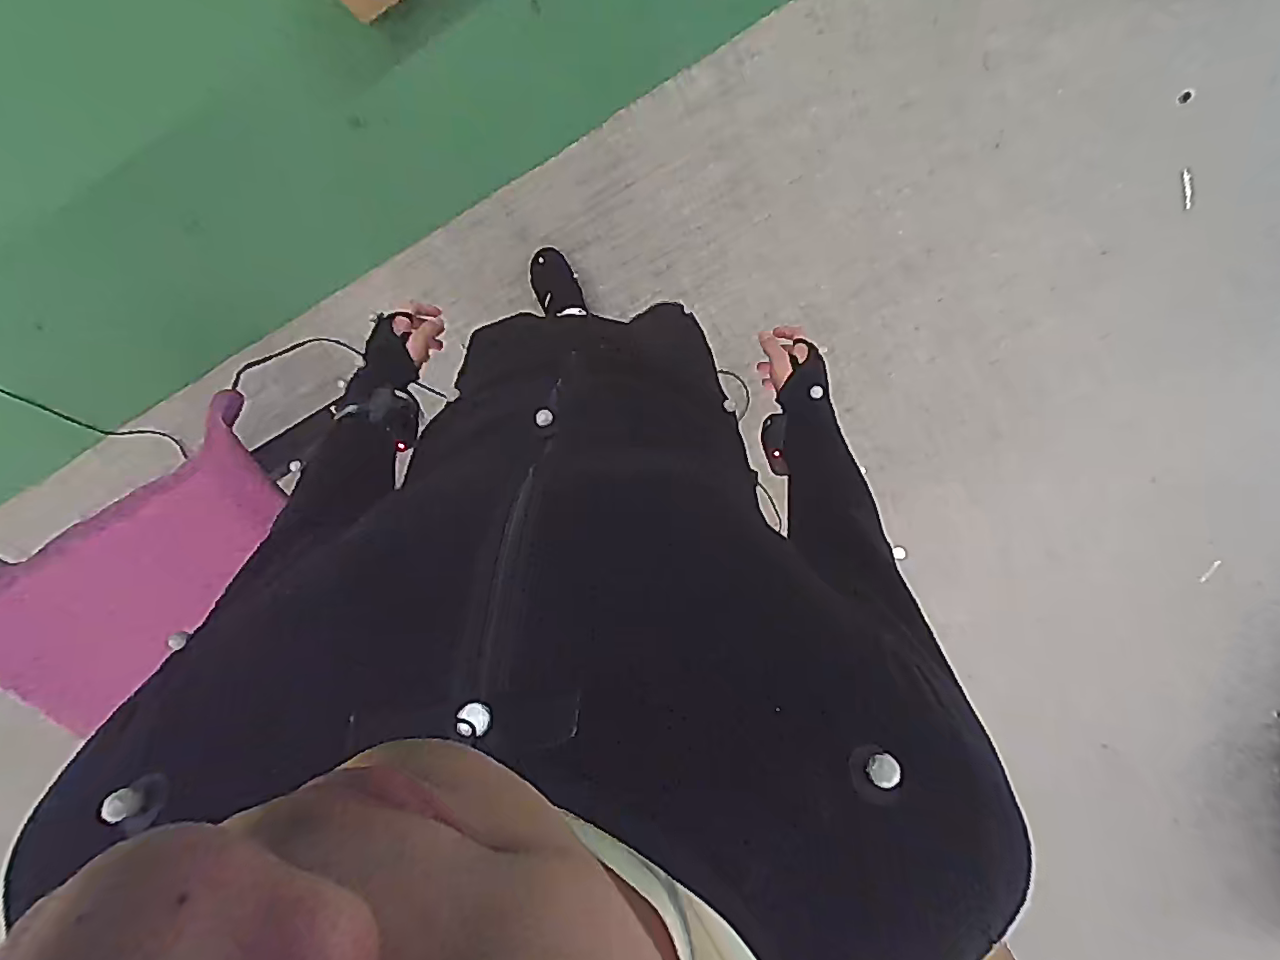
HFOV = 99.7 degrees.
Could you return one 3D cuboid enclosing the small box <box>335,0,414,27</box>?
[{"bbox_3d":[-0.577,-1.077,1.104,0.168,0.176,0.179,-30,111,9],"label":"small box"}]
